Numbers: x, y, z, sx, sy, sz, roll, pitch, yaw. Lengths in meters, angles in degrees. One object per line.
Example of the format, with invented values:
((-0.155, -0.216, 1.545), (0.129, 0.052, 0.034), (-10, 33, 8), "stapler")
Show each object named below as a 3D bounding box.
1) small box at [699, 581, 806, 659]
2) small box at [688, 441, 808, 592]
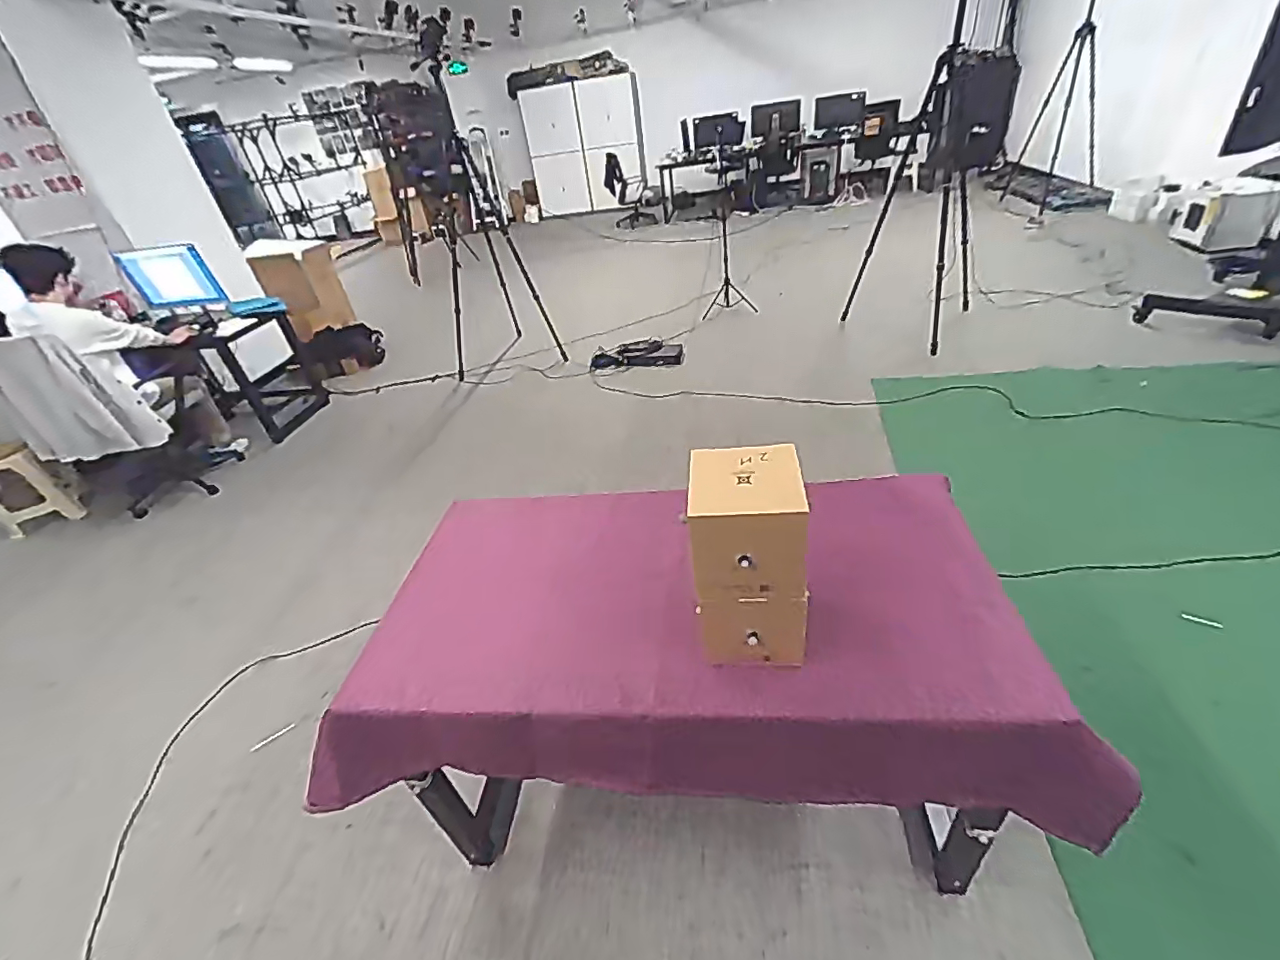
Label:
((0.195, 0.193, 0.940), (0.168, 0.176, 0.179), (-2, 37, 10), "small box")
((0.168, 0.060, 0.845), (0.168, 0.176, 0.179), (-2, 36, 10), "small box")
